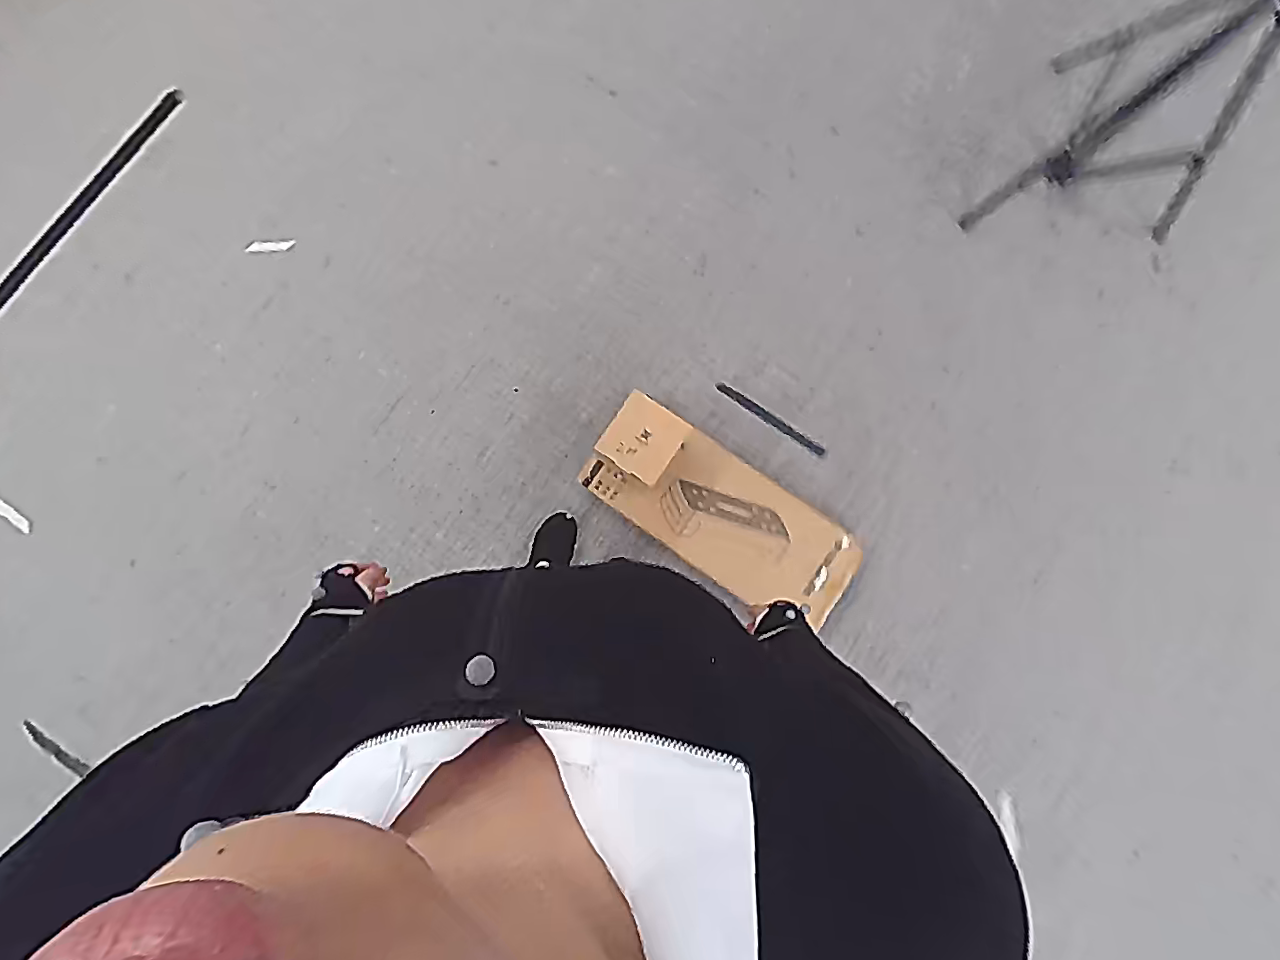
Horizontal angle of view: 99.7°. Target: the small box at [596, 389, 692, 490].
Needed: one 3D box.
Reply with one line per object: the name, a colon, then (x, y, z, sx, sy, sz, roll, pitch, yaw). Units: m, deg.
small box: (0.005, -0.094, 1.337, 0.168, 0.176, 0.179, 35, 85, 2)
